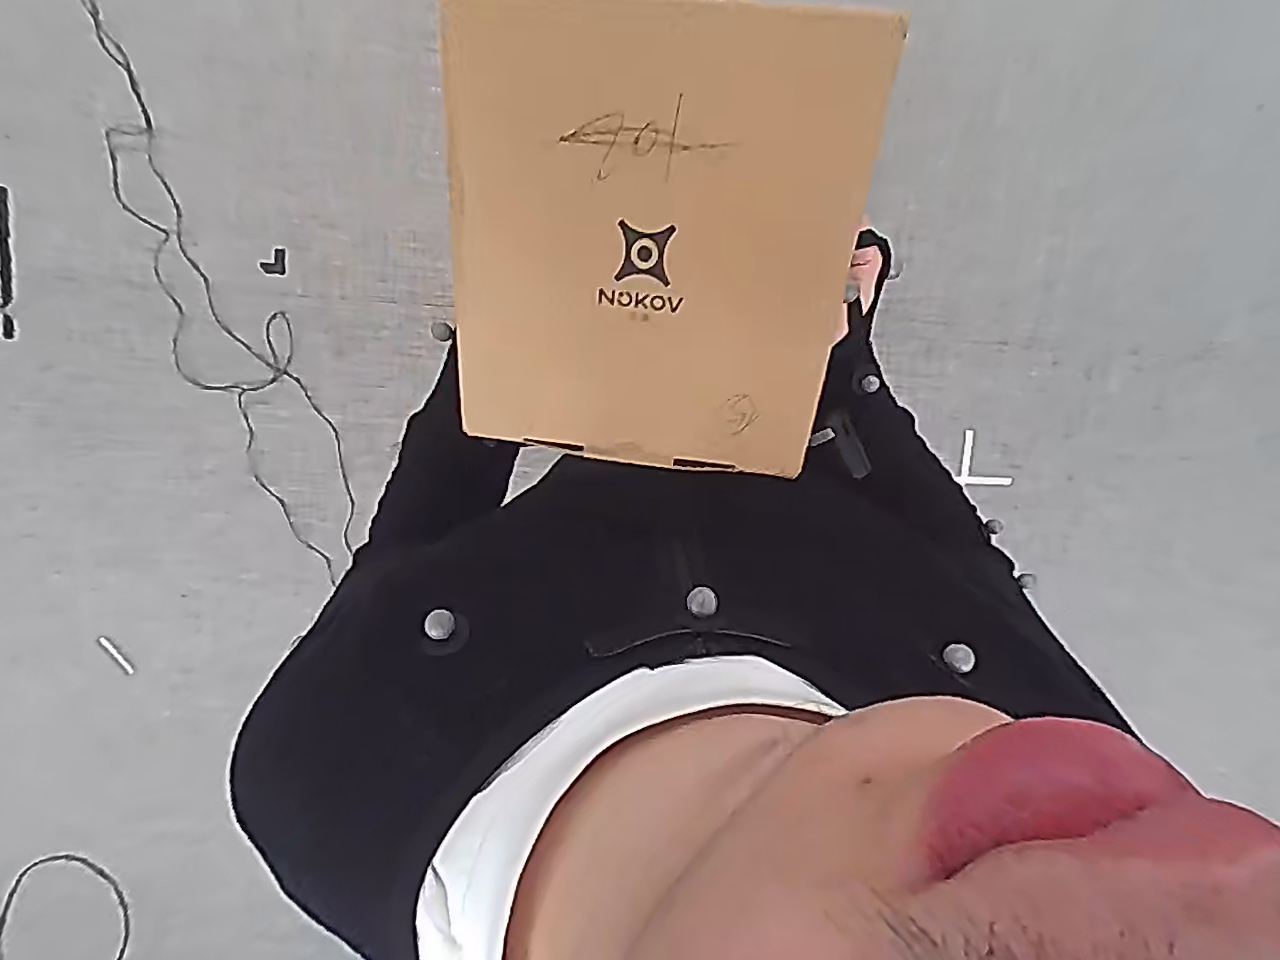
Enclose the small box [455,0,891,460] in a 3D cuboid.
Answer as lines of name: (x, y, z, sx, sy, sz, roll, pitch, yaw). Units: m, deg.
small box: (0.013, -0.130, 0.306, 0.168, 0.176, 0.179, 7, 114, 4)
